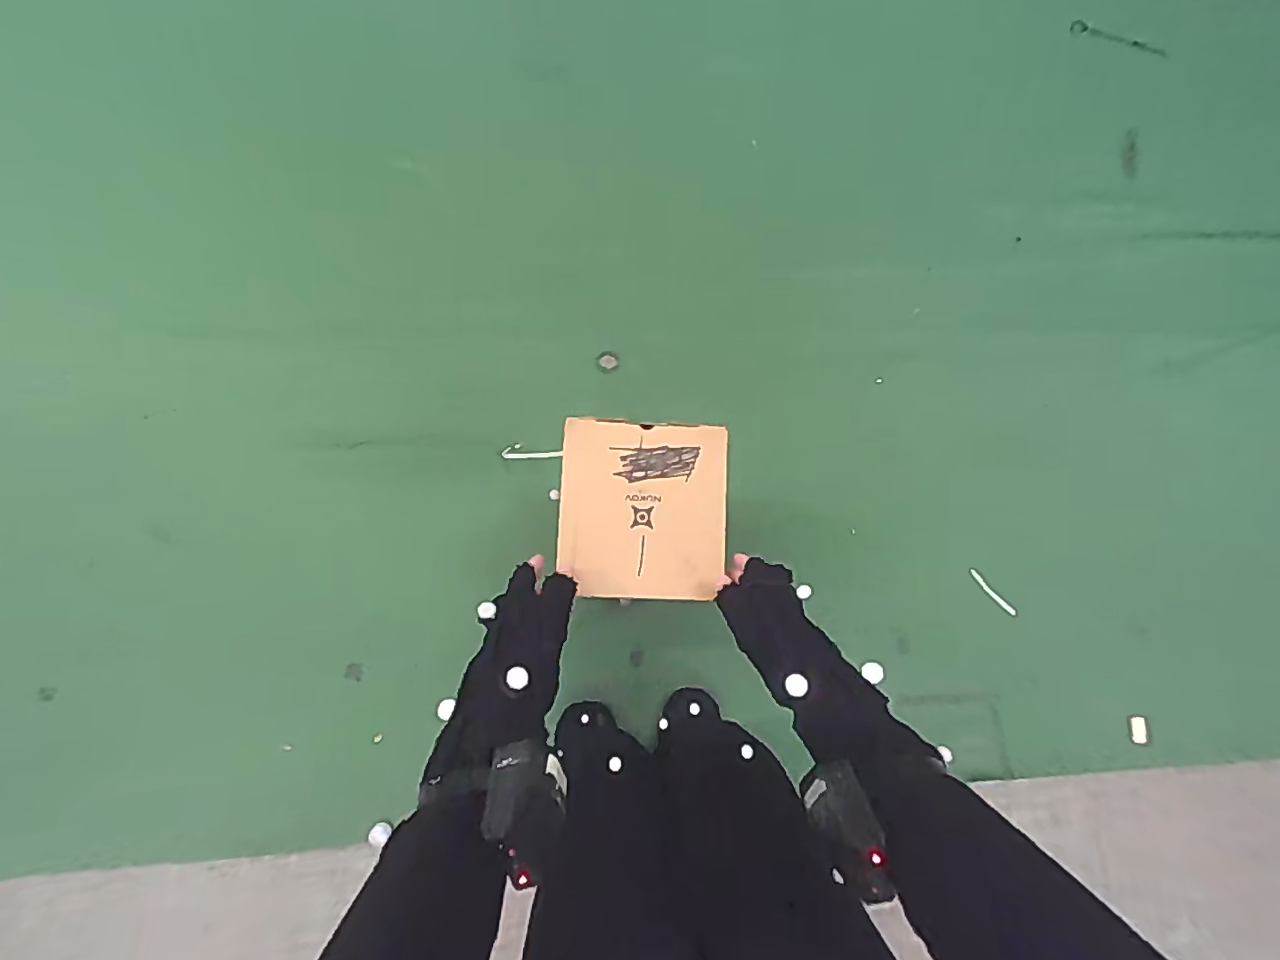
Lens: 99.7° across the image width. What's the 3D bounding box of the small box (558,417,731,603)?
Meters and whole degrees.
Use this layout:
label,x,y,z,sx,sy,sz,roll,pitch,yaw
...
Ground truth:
label,x,y,z,sx,sy,sz,roll,pitch,yaw
small box,-0.001,0.038,0.605,0.168,0.176,0.179,3,83,-5
